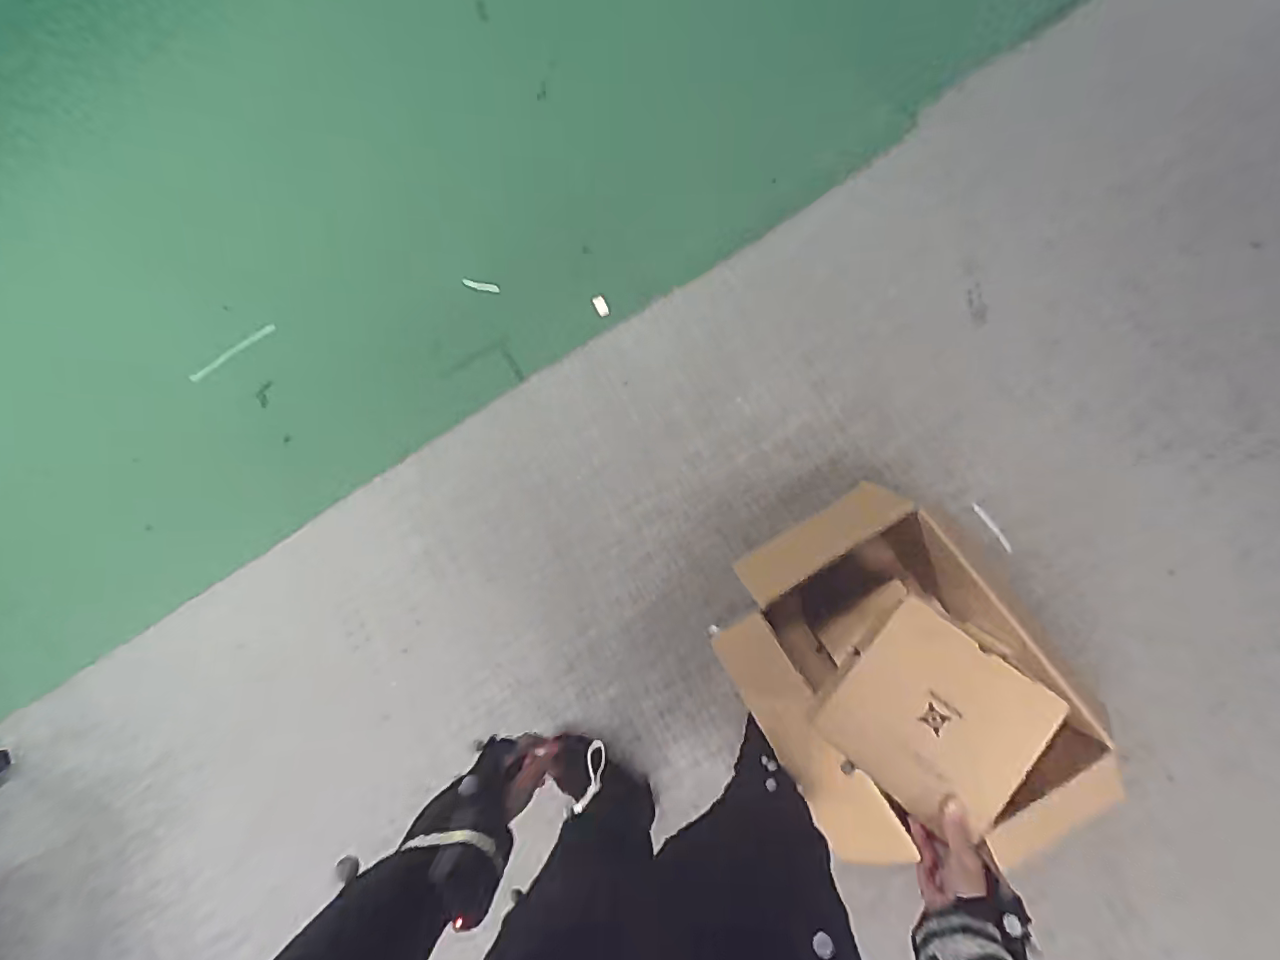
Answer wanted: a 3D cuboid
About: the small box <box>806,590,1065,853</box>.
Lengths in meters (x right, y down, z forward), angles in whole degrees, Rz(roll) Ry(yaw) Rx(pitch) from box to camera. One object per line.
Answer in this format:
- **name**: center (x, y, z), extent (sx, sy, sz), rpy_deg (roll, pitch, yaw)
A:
- **small box**: center (0.298, 0.248, 0.591), extent (0.168, 0.176, 0.179), rpy_deg (37, 83, 23)
